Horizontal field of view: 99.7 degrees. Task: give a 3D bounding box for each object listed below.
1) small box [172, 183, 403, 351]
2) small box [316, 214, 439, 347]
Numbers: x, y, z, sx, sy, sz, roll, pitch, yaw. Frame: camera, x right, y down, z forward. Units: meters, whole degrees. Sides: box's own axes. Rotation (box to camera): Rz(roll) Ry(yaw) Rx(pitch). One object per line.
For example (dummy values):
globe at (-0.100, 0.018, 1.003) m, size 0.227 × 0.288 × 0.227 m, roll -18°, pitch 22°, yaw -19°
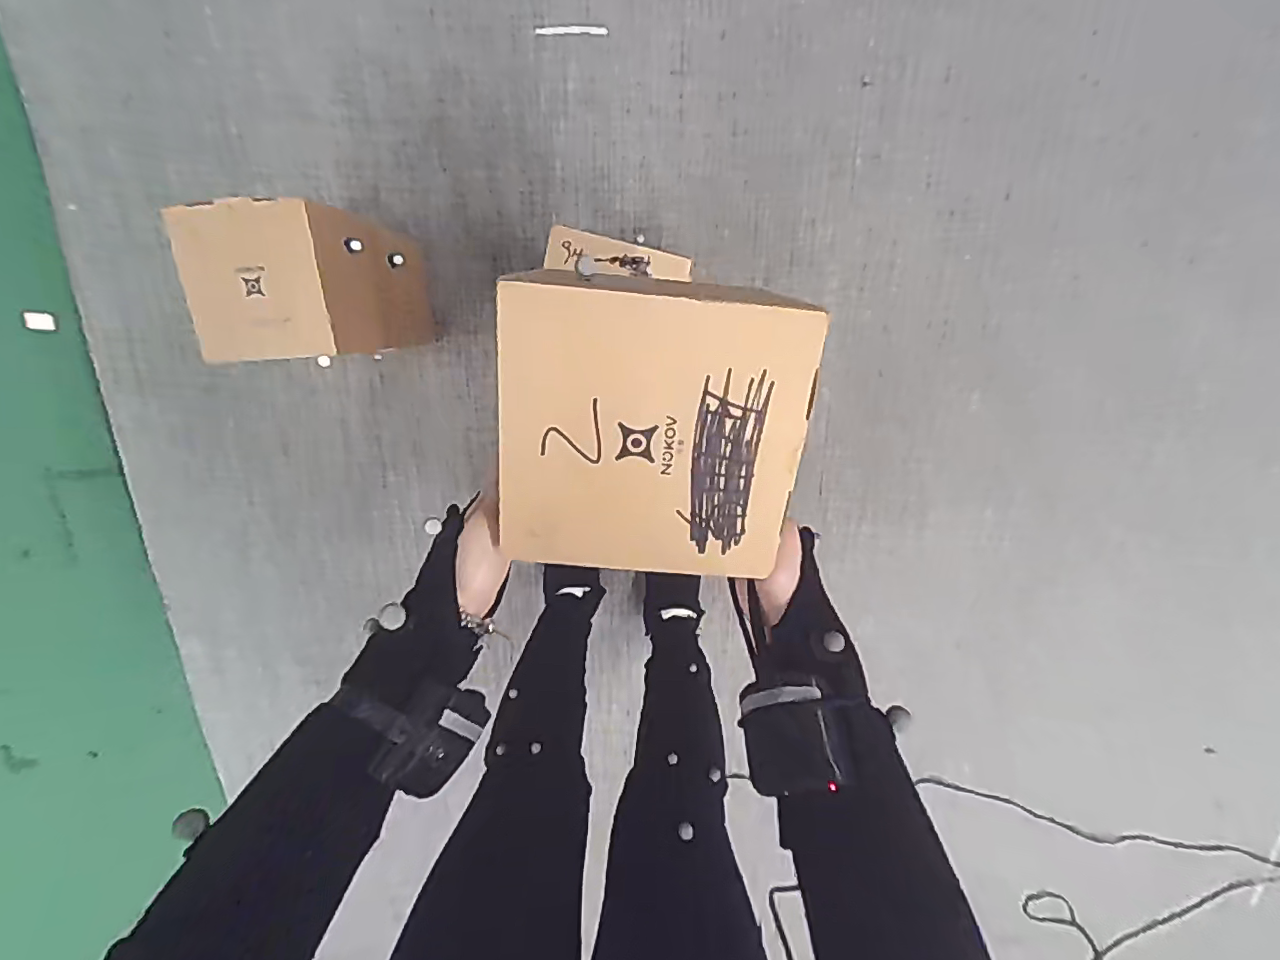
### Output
small box at (-0.435, -0.264, 0.700) m, size 0.168 × 0.176 × 0.179 m, roll -3°, pitch 108°, yaw 3°
small box at (-0.439, -0.307, 0.856) m, size 0.168 × 0.176 × 0.179 m, roll -4°, pitch 107°, yaw 2°
